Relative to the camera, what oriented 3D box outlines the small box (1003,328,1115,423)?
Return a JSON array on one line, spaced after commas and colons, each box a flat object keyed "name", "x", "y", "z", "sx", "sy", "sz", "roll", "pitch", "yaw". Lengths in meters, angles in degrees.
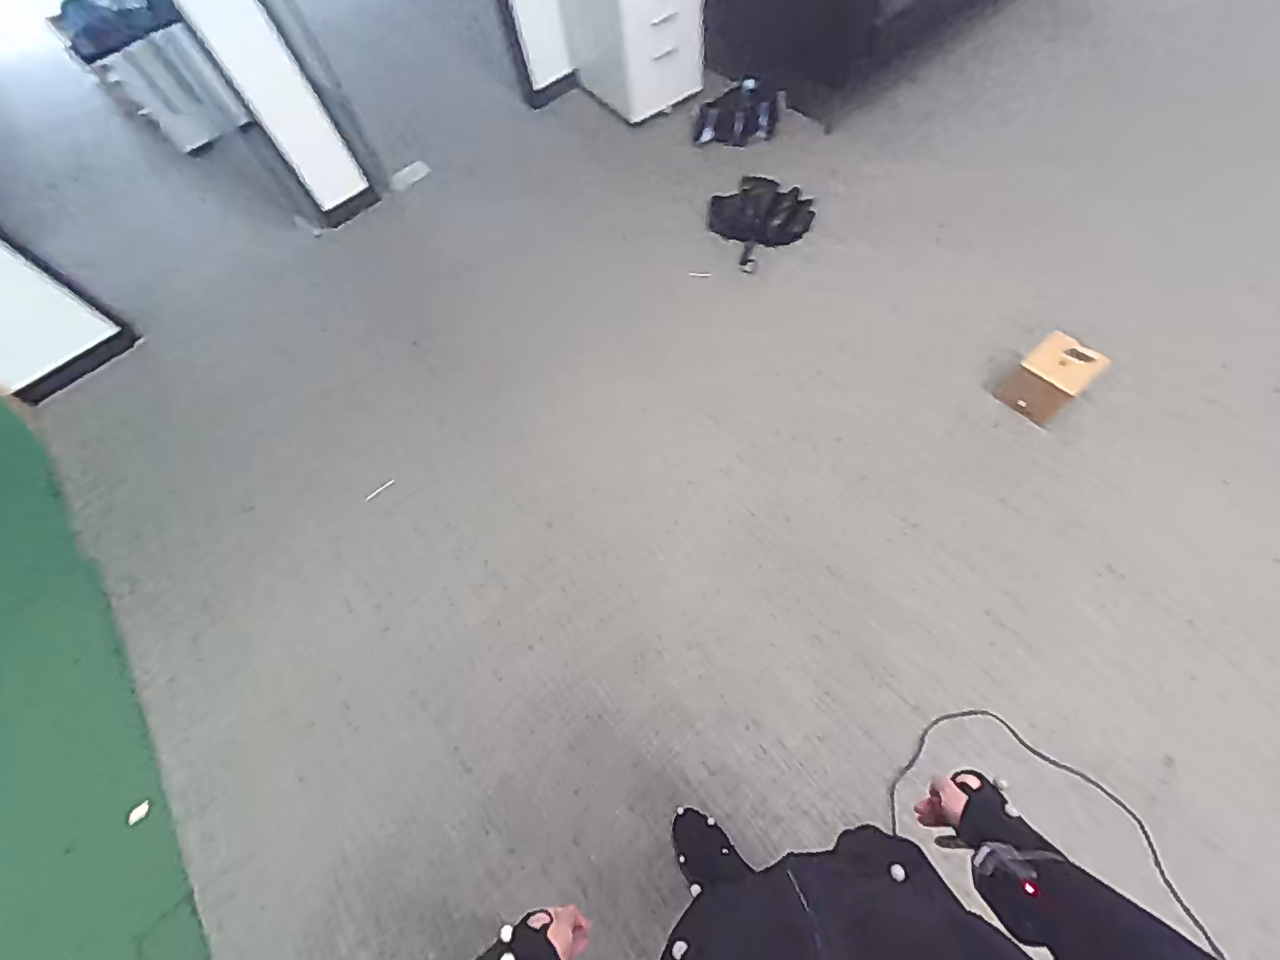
[{"name": "small box", "x": 1.225, "y": -0.306, "z": 1.597, "sx": 0.179, "sy": 0.176, "sz": 0.168, "roll": -38, "pitch": 63, "yaw": -11}]
